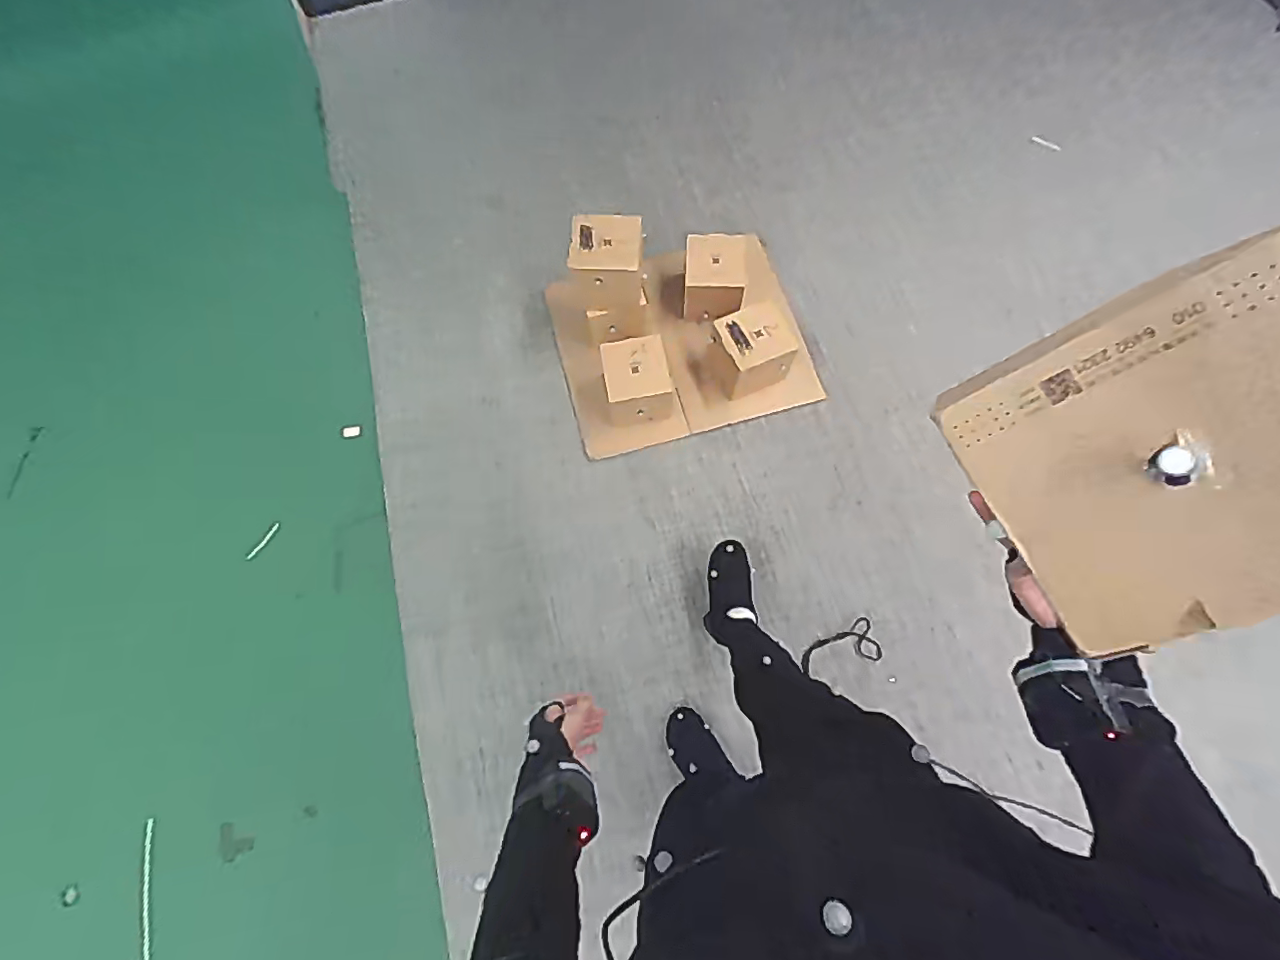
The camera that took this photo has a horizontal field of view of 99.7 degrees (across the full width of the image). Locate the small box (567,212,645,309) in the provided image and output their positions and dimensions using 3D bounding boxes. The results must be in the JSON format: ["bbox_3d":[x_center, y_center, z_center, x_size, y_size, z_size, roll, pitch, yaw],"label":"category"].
[{"bbox_3d":[-0.082,-0.563,1.399,0.179,0.176,0.168,3,72,2],"label":"small box"}]

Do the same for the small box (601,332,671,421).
[{"bbox_3d":[-0.008,-0.272,1.473,0.168,0.176,0.179,-10,72,-2],"label":"small box"}]

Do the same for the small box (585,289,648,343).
[{"bbox_3d":[-0.076,-0.515,1.556,0.168,0.176,0.179,-14,71,-2],"label":"small box"}]

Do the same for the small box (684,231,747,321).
[{"bbox_3d":[0.214,-0.587,1.563,0.168,0.176,0.179,3,72,3],"label":"small box"}]

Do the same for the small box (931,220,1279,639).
[{"bbox_3d":[0.310,-0.032,0.345,0.168,0.179,0.176,-32,83,33],"label":"small box"}]
